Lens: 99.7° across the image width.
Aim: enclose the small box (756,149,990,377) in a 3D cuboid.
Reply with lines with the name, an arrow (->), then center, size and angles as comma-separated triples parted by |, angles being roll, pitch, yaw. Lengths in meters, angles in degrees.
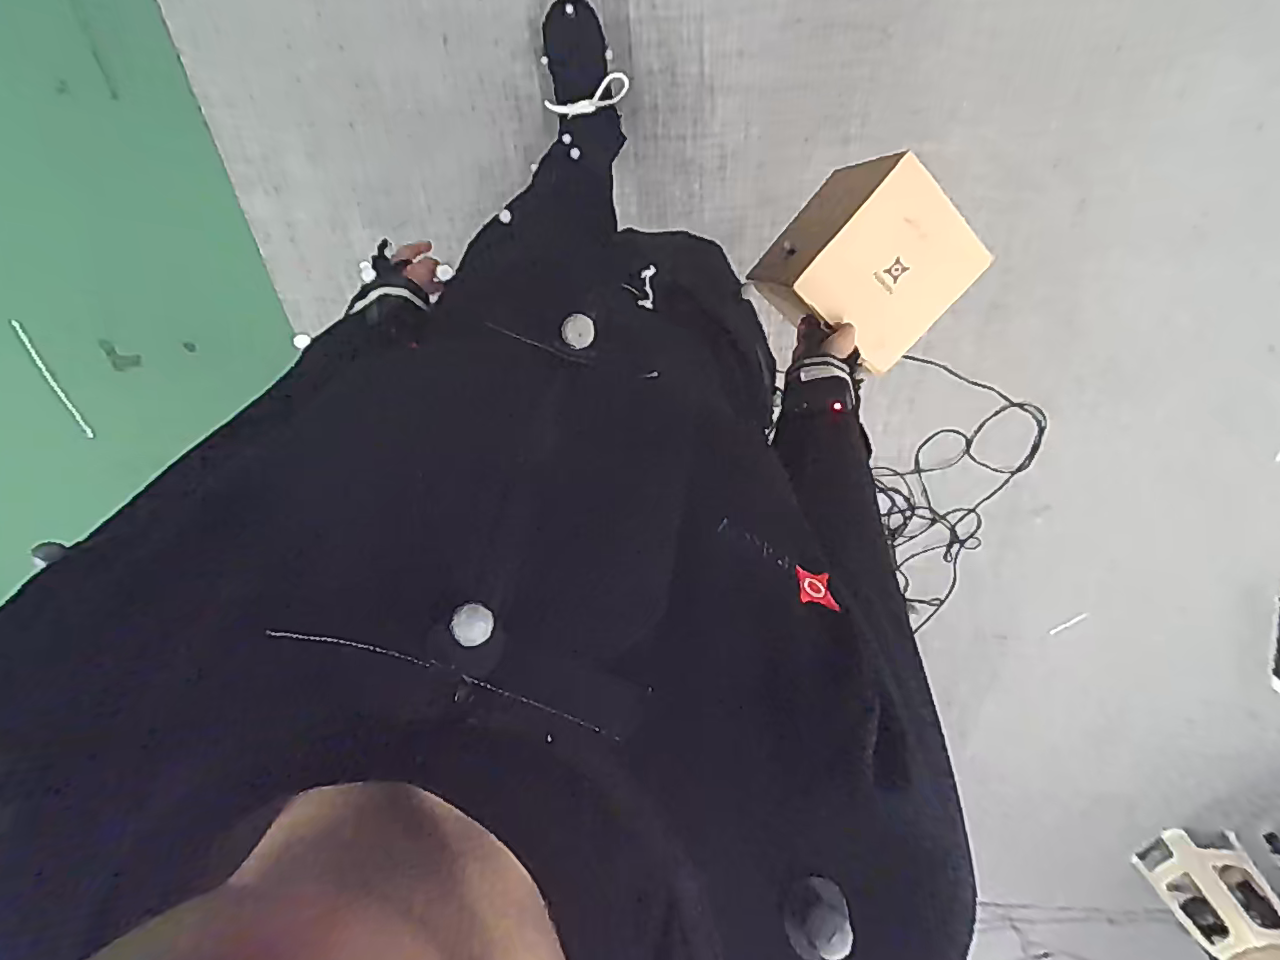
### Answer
small box -> 0.265, -0.259, 0.663 | 0.168, 0.176, 0.179 | 36, 103, -22
